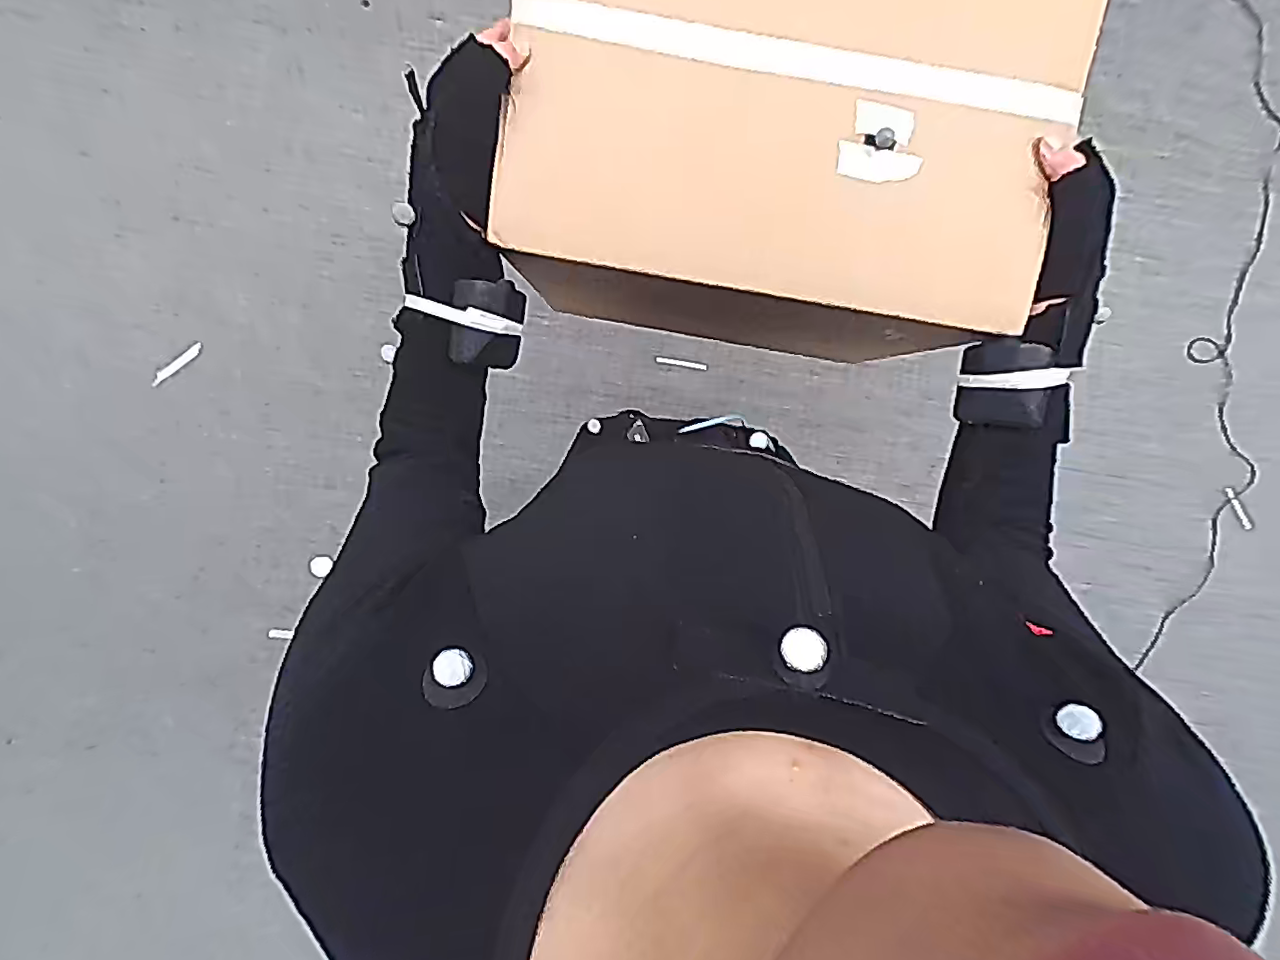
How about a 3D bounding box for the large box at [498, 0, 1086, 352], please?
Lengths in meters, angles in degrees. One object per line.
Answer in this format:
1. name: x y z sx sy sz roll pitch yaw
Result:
1. large box: 0.106 -0.323 0.537 0.408 0.320 0.320 9 99 -3
